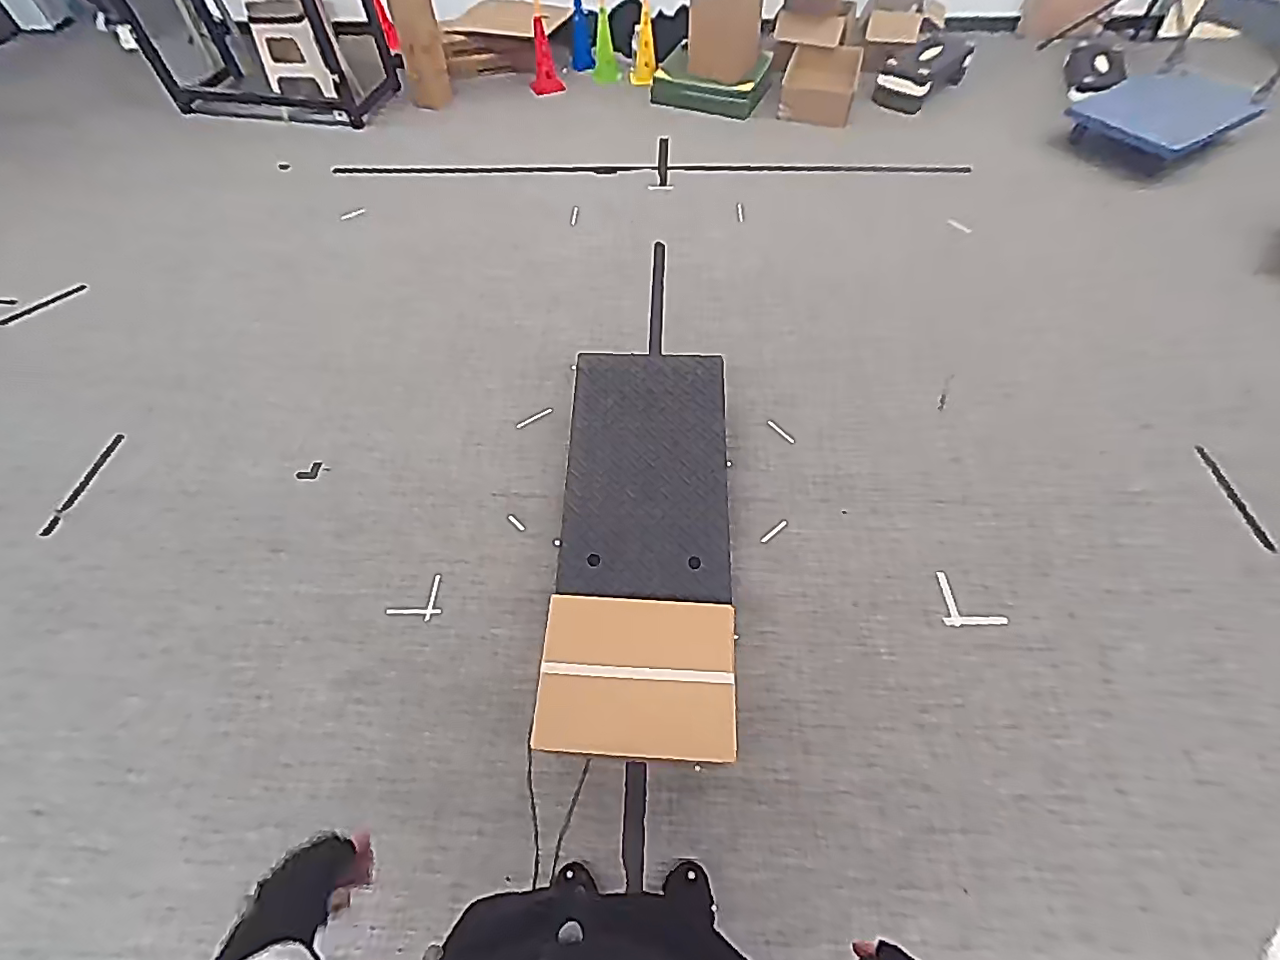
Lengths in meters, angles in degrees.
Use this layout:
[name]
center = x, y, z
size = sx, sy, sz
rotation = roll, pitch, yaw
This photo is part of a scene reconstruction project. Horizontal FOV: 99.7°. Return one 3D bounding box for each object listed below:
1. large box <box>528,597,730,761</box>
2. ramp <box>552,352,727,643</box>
[large box]
center = -0.014, 0.473, 1.260
size = 0.408, 0.320, 0.320
rotation = 3, 61, 2
[ramp]
center = 0.009, 0.036, 1.631
size = 0.509, 0.206, 0.991
rotation = 1, 57, -1
